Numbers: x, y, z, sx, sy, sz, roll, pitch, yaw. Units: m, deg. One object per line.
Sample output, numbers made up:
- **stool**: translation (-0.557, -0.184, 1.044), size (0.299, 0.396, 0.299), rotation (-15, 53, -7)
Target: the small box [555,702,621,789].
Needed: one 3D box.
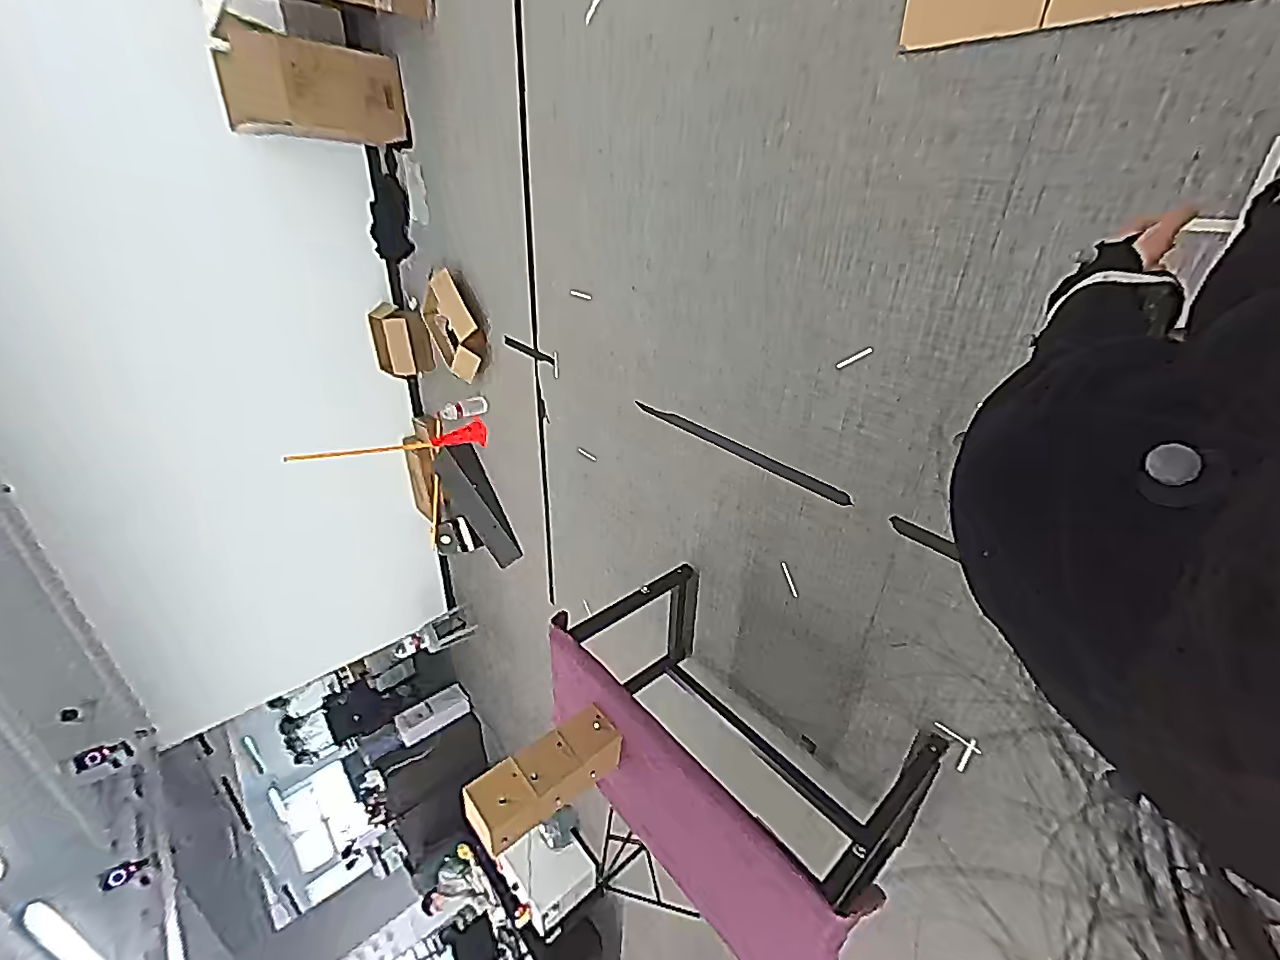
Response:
- **small box**: translation (-0.181, 0.919, 1.882), size (0.168, 0.176, 0.179), rotation (33, 131, 38)

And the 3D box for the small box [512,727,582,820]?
- **small box**: translation (-0.304, 0.964, 1.783), size (0.168, 0.176, 0.179), rotation (35, 133, 36)

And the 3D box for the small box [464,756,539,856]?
- **small box**: translation (-0.426, 1.007, 1.684), size (0.168, 0.176, 0.179), rotation (35, 133, 36)
